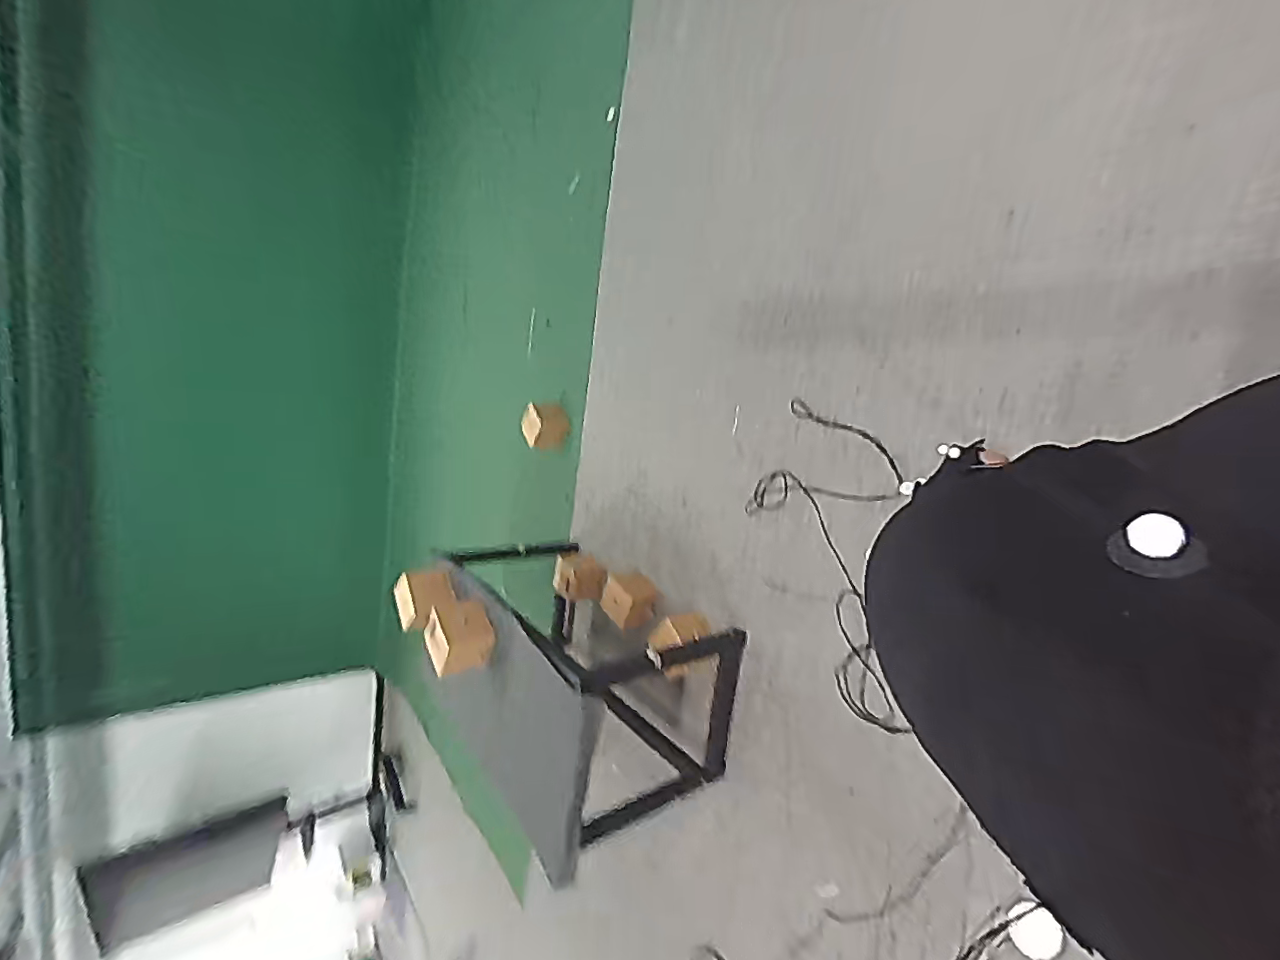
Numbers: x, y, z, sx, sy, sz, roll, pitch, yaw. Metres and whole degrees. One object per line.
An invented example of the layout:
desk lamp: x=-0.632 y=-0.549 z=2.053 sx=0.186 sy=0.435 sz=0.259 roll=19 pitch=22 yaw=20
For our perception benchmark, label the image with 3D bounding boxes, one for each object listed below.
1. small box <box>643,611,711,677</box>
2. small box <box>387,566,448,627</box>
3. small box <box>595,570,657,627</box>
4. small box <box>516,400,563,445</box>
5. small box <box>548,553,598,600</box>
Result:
small box: x=0.147 y=0.621 z=2.065 sx=0.168 sy=0.176 sz=0.179 roll=57 pitch=130 yaw=33
small box: x=-0.870 y=0.453 z=2.125 sx=0.179 sy=0.176 sz=0.168 roll=-44 pitch=61 yaw=41
small box: x=-0.060 y=0.498 z=2.306 sx=0.179 sy=0.176 sz=0.168 roll=36 pitch=117 yaw=42
small box: x=-0.529 y=-0.304 z=2.863 sx=0.168 sy=0.176 sz=0.179 roll=-56 pitch=51 yaw=34
small box: x=-0.322 y=0.458 z=2.610 sx=0.179 sy=0.176 sz=0.168 roll=26 pitch=109 yaw=47
